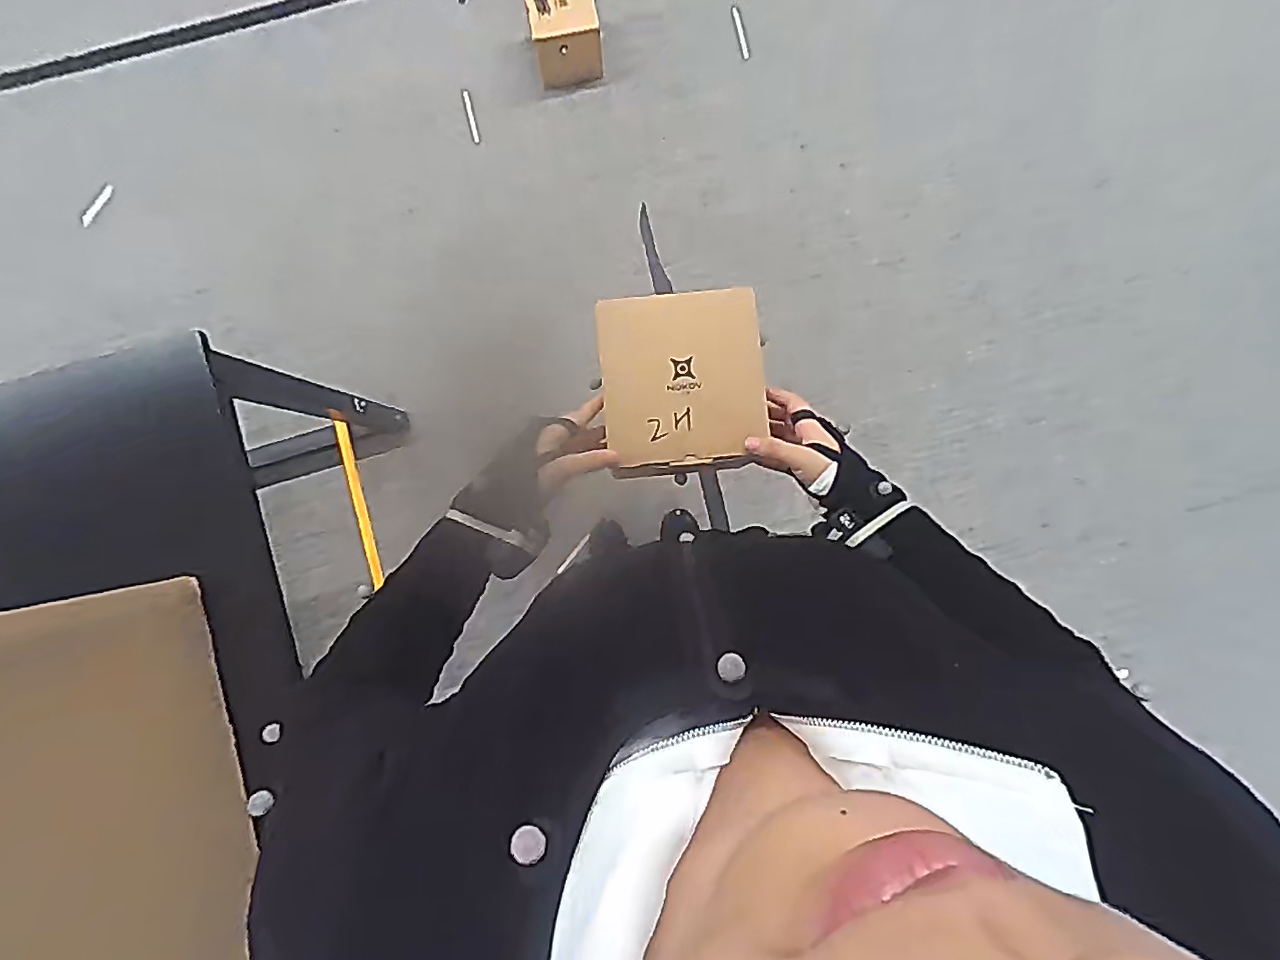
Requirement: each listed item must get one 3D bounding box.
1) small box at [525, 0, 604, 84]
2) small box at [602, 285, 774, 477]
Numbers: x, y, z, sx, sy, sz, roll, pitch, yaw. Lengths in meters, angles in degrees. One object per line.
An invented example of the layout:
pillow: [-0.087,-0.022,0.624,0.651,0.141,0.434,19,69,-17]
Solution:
small box: [-0.199,-1.205,1.446,0.179,0.176,0.168,-12,89,-1]
small box: [0.046,-0.101,0.623,0.168,0.176,0.179,-5,87,-1]
